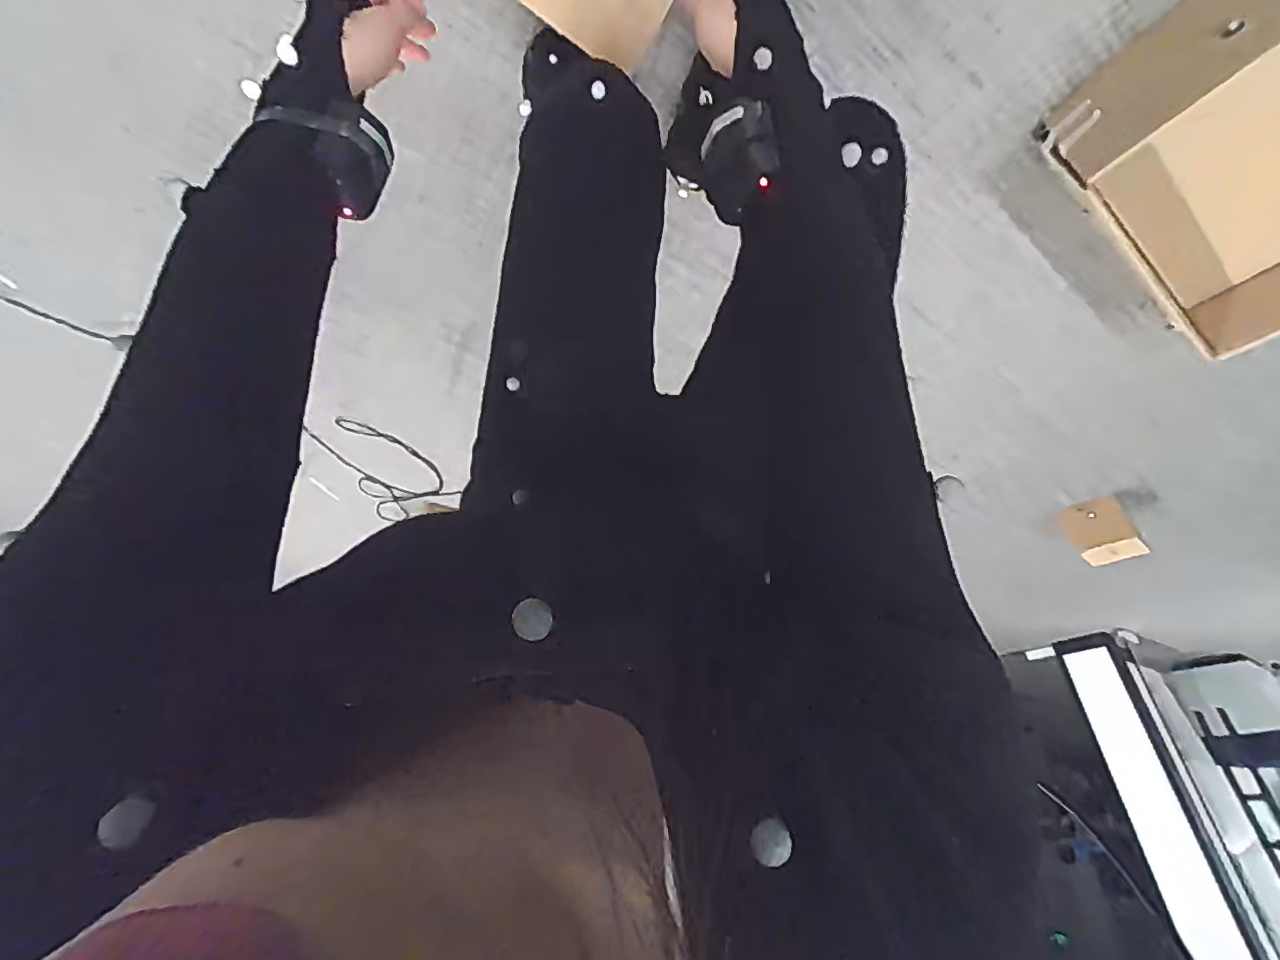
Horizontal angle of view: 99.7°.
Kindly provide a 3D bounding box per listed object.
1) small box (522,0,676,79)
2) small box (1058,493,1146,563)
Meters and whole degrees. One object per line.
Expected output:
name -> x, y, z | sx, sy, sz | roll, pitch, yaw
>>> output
small box -> -0.040, -0.627, 0.620 | 0.179, 0.176, 0.168 | 18, 145, -29
small box -> 1.597, 0.166, 1.873 | 0.179, 0.176, 0.168 | 25, 140, -33
